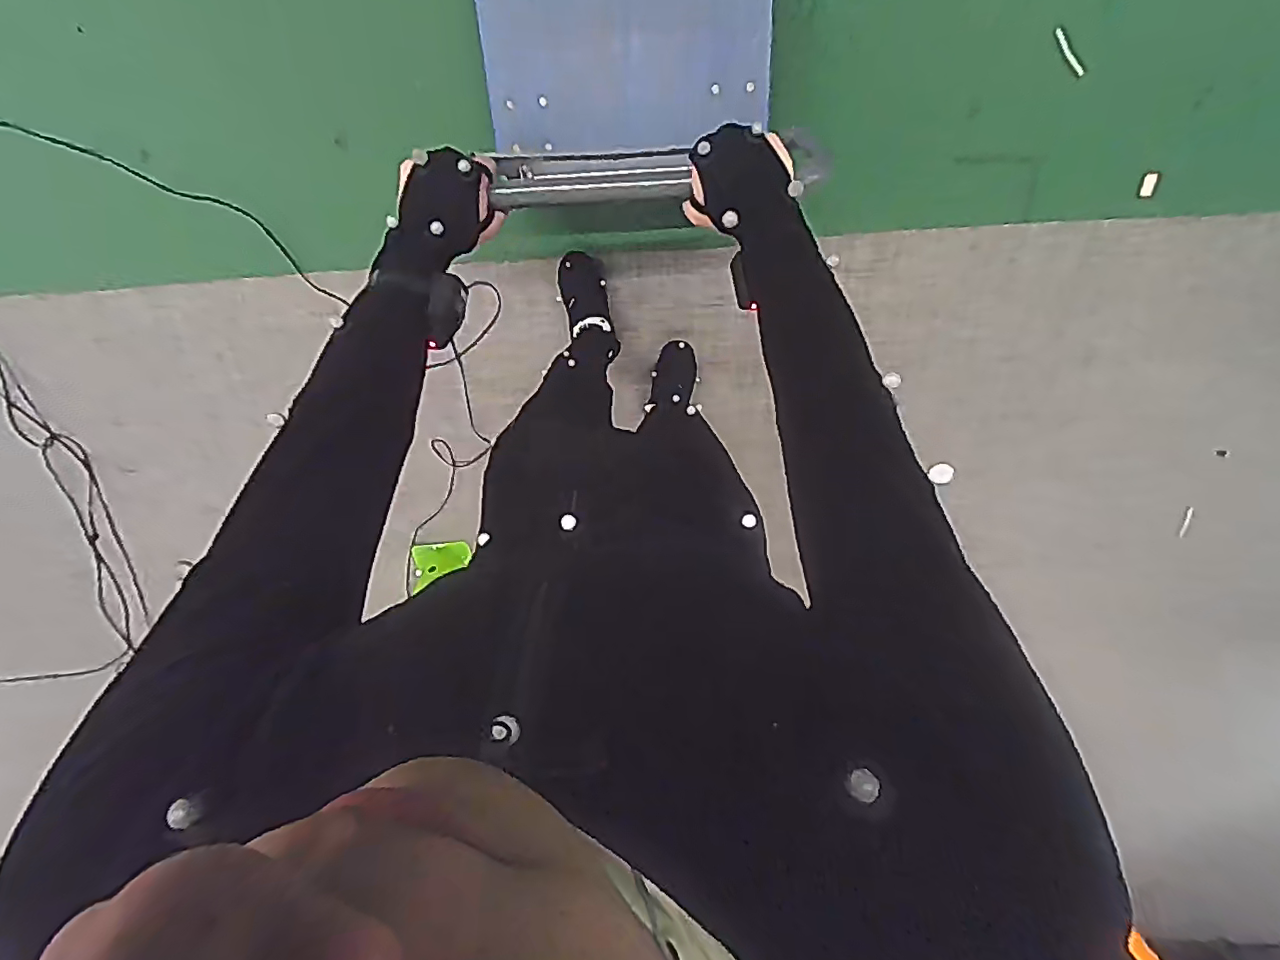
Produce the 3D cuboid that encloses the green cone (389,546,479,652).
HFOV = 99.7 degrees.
[{"bbox_3d":[-0.670,0.387,1.678,0.202,0.368,0.200,-5,115,7],"label":"green cone"}]
